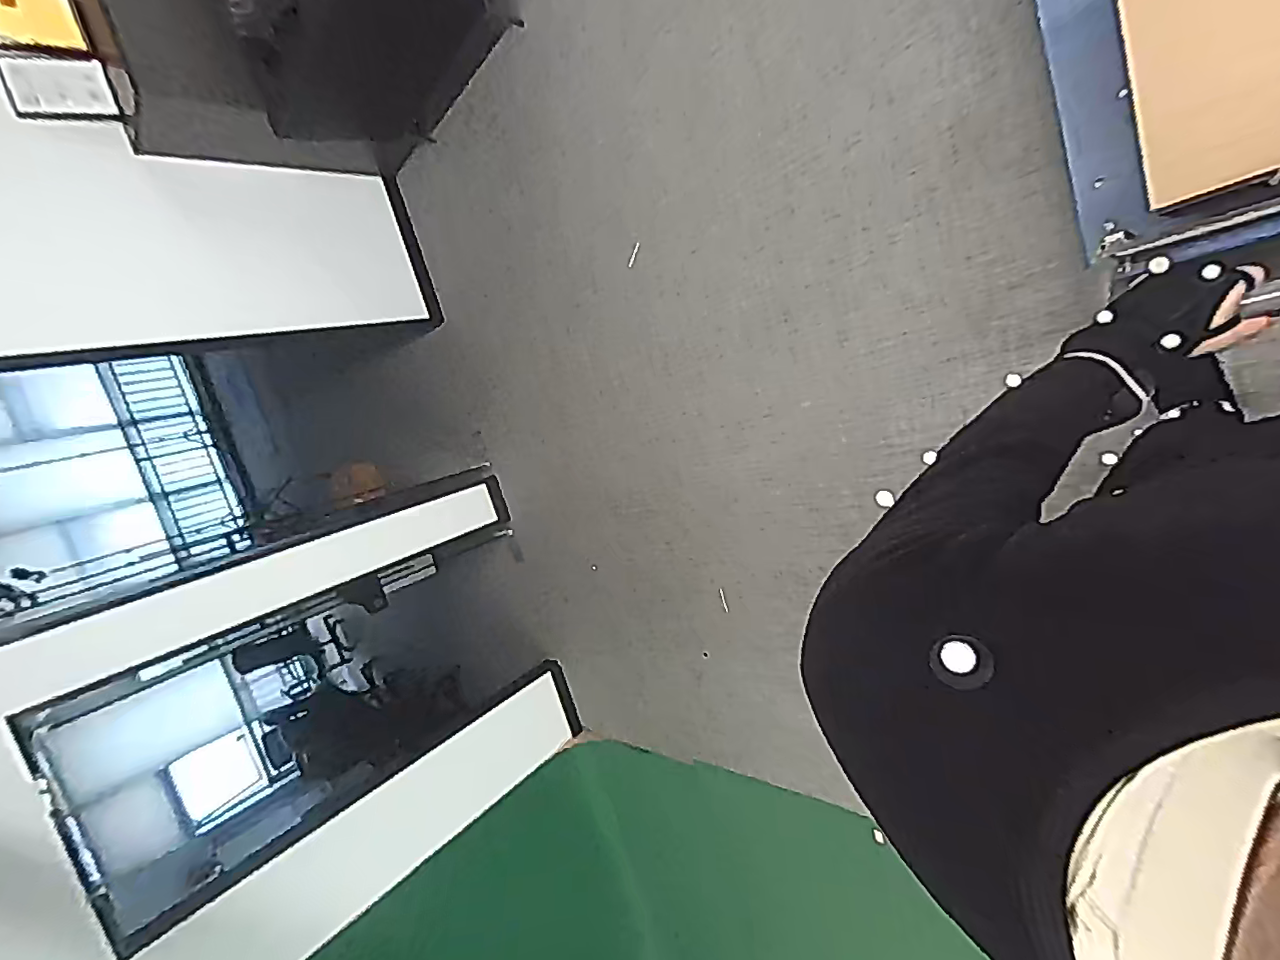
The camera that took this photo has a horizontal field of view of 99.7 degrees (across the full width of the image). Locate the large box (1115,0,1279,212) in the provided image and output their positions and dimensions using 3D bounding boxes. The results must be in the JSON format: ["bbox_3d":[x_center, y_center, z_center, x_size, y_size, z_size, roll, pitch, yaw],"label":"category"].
[{"bbox_3d":[0.902,-0.650,0.760,0.320,0.320,0.408,-9,101,46],"label":"large box"}]
